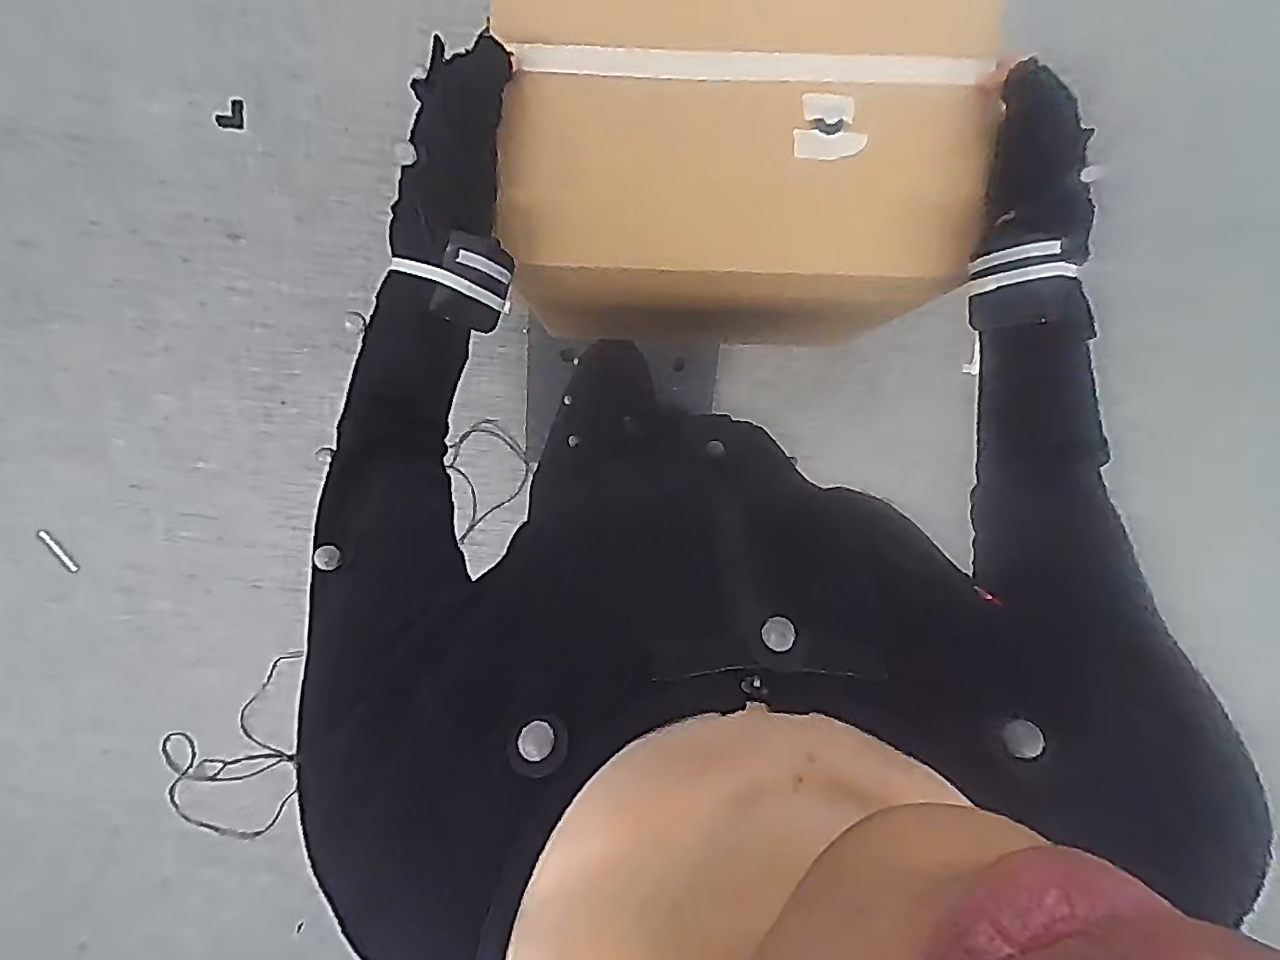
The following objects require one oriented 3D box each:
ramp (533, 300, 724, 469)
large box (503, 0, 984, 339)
[{"bbox_3d":[-0.015,-0.518,1.340,0.509,0.206,0.991,3,98,-1],"label":"ramp"},{"bbox_3d":[0.081,-0.343,0.598,0.408,0.320,0.320,1,93,-1],"label":"large box"}]
